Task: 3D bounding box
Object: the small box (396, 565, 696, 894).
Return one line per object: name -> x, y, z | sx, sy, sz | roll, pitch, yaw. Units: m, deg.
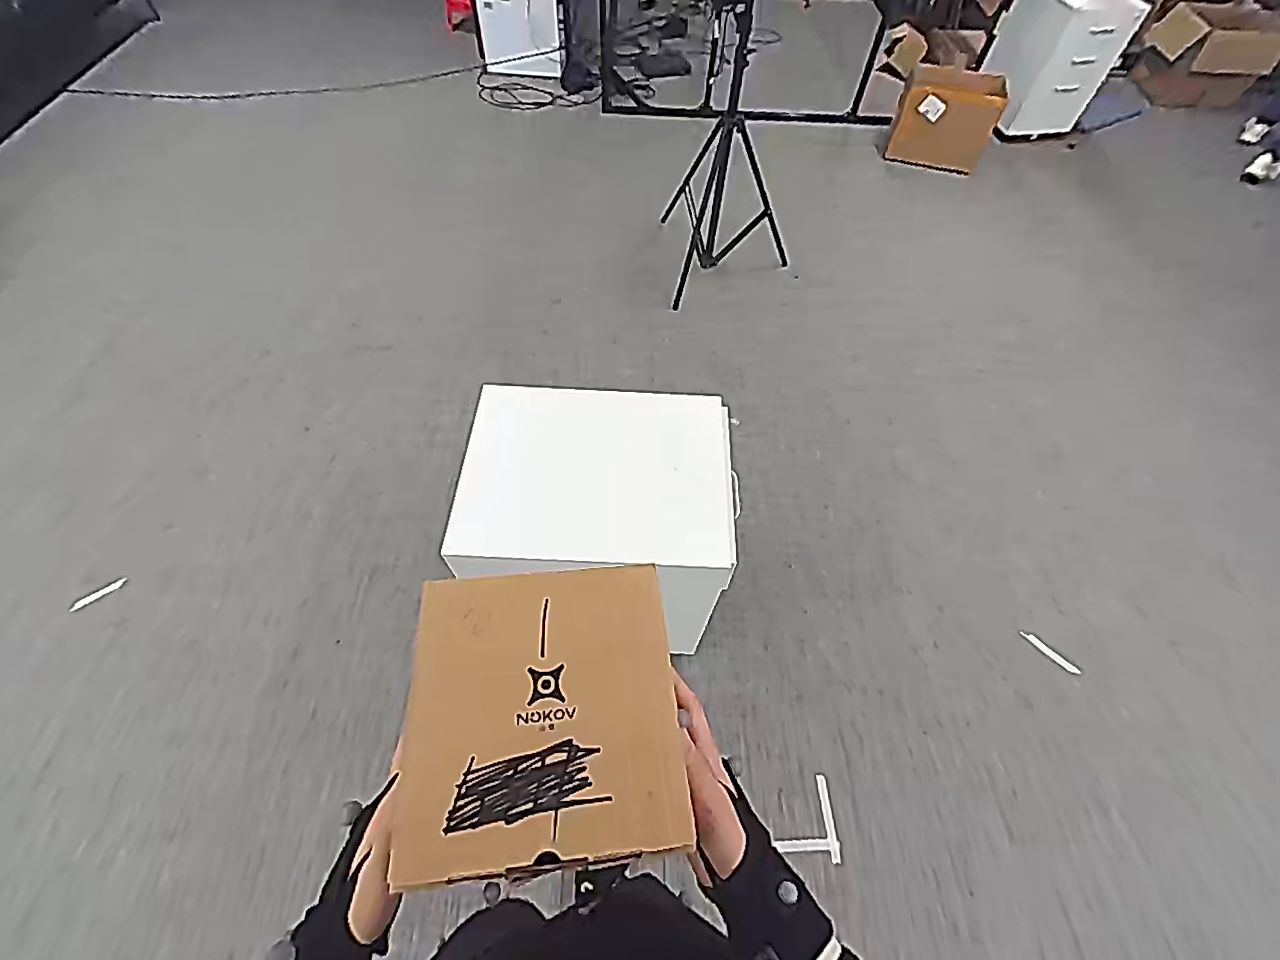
small box -> -0.061, 0.184, 0.401 | 0.168, 0.176, 0.179 | -4, 54, -7
